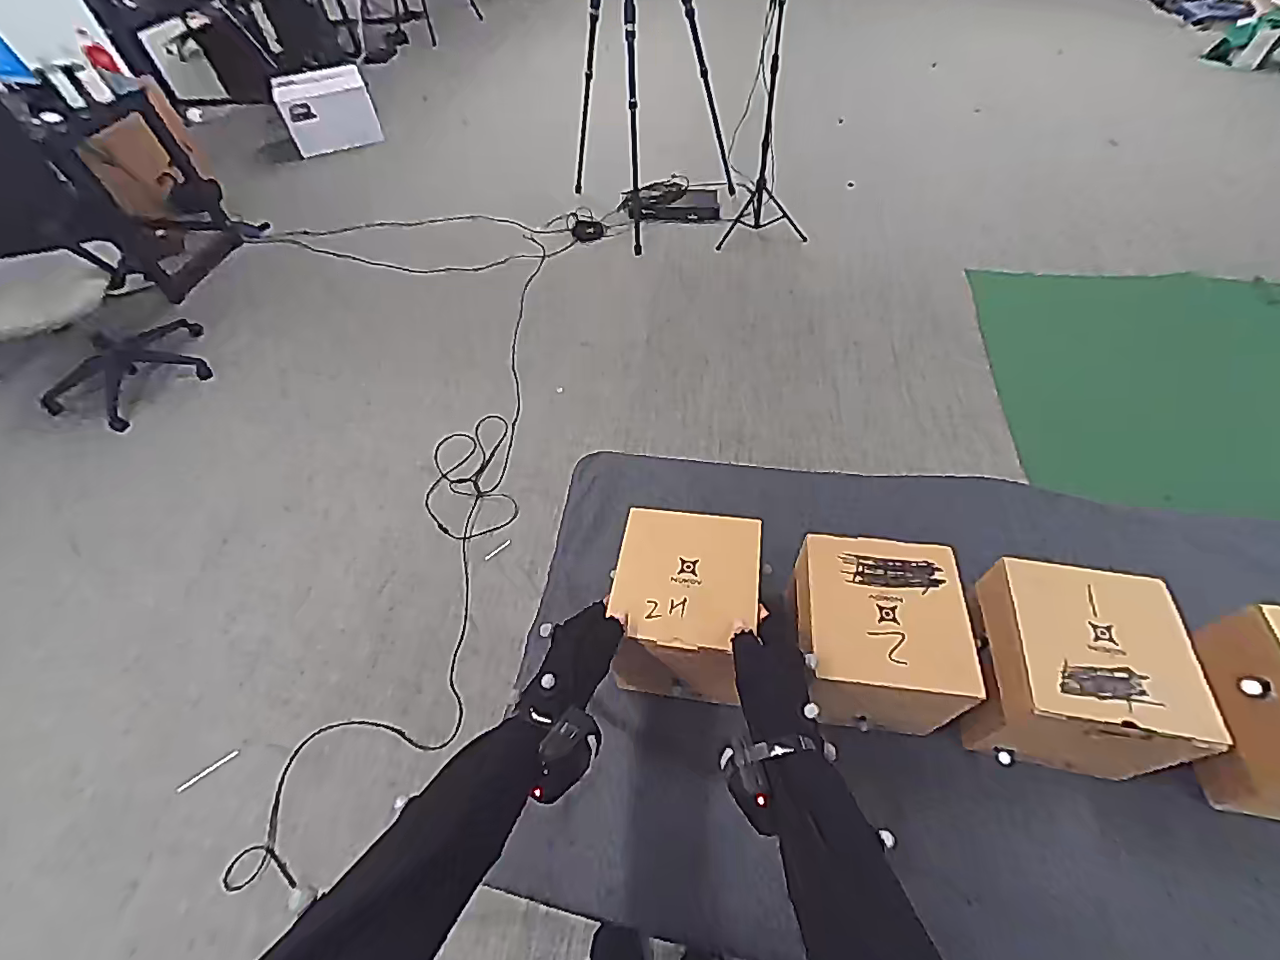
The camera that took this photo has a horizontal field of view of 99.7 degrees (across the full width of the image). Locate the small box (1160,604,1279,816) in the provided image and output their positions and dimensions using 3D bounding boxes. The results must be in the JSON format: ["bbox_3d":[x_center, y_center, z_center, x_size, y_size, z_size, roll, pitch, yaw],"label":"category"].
[{"bbox_3d":[0.717,0.254,0.566,0.168,0.176,0.179,6,53,9],"label":"small box"}]

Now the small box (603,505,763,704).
[{"bbox_3d":[0.060,0.155,0.678,0.168,0.176,0.179,4,51,10],"label":"small box"}]
